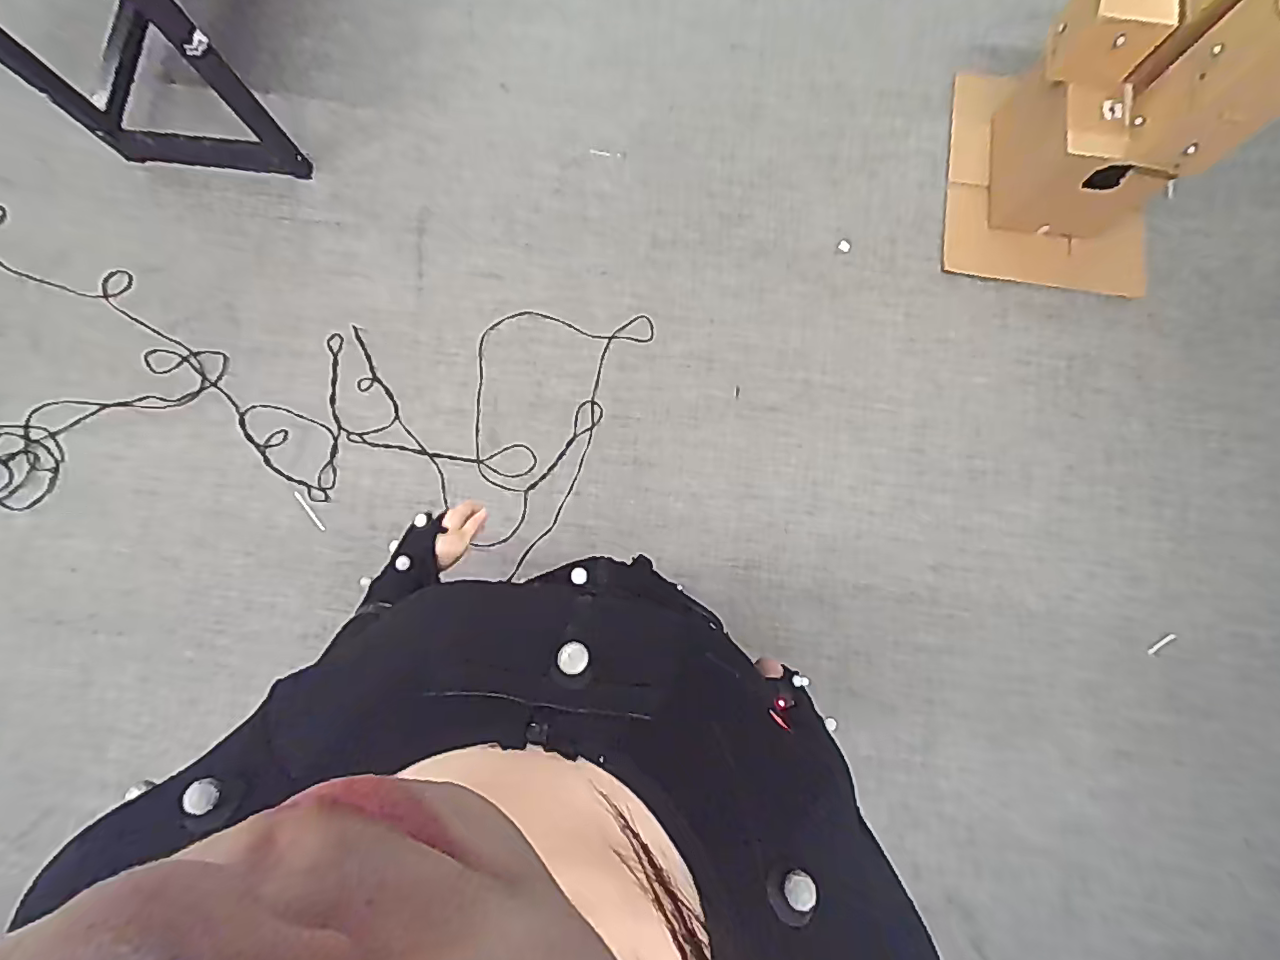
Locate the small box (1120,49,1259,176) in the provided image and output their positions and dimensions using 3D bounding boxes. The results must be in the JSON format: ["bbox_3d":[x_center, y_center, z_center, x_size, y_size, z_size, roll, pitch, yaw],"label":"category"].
[{"bbox_3d":[1.287,-0.857,1.277,0.168,0.176,0.179,10,79,1],"label":"small box"}]
